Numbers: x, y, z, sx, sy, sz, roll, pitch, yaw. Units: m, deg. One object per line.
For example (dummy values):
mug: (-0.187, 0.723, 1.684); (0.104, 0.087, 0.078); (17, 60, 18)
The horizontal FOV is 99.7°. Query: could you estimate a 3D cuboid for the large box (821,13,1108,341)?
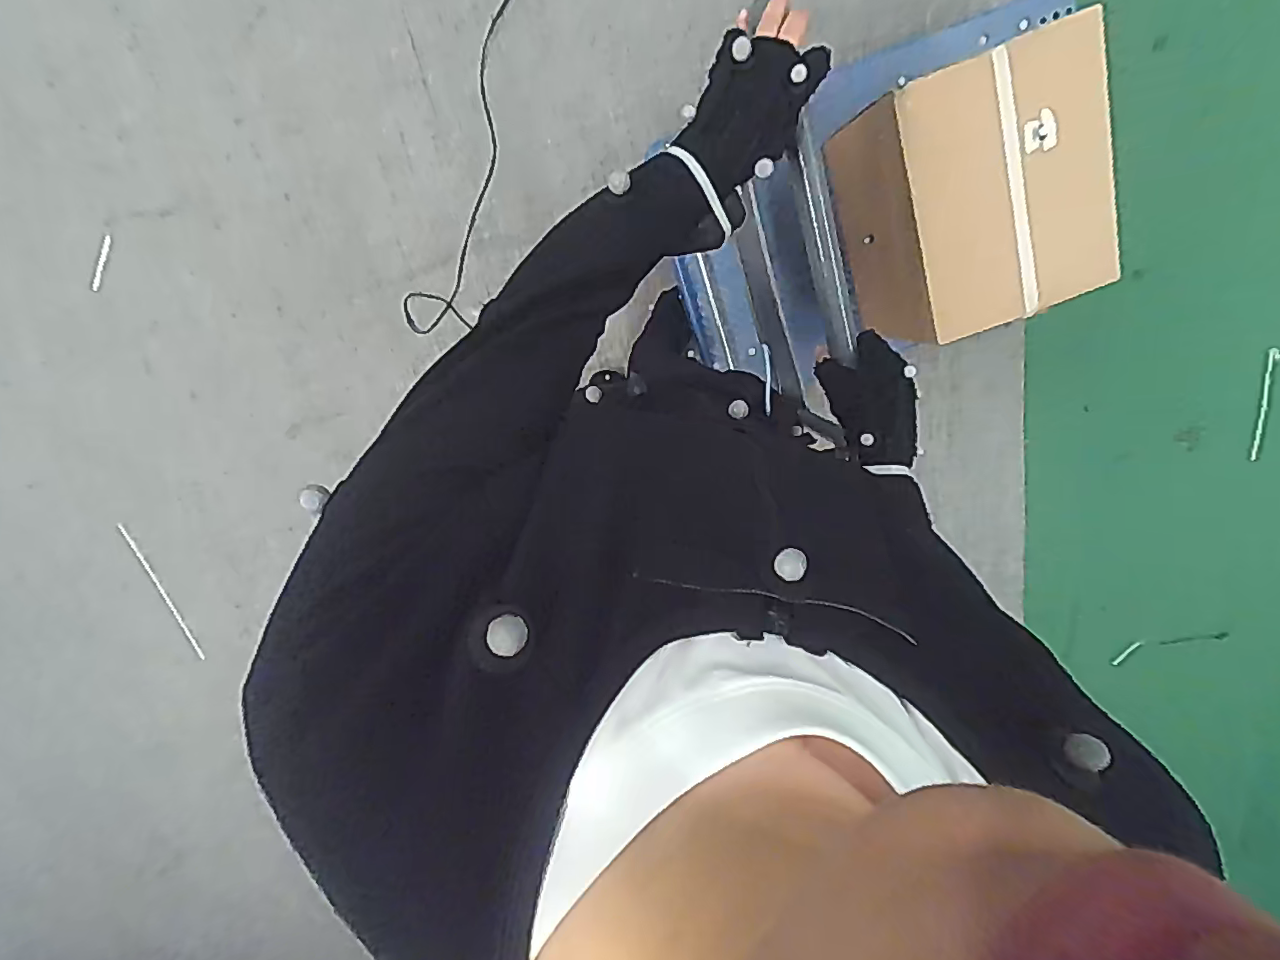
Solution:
large box: (0.582, -0.515, 1.016); (0.320, 0.320, 0.408); (-20, 108, 5)
